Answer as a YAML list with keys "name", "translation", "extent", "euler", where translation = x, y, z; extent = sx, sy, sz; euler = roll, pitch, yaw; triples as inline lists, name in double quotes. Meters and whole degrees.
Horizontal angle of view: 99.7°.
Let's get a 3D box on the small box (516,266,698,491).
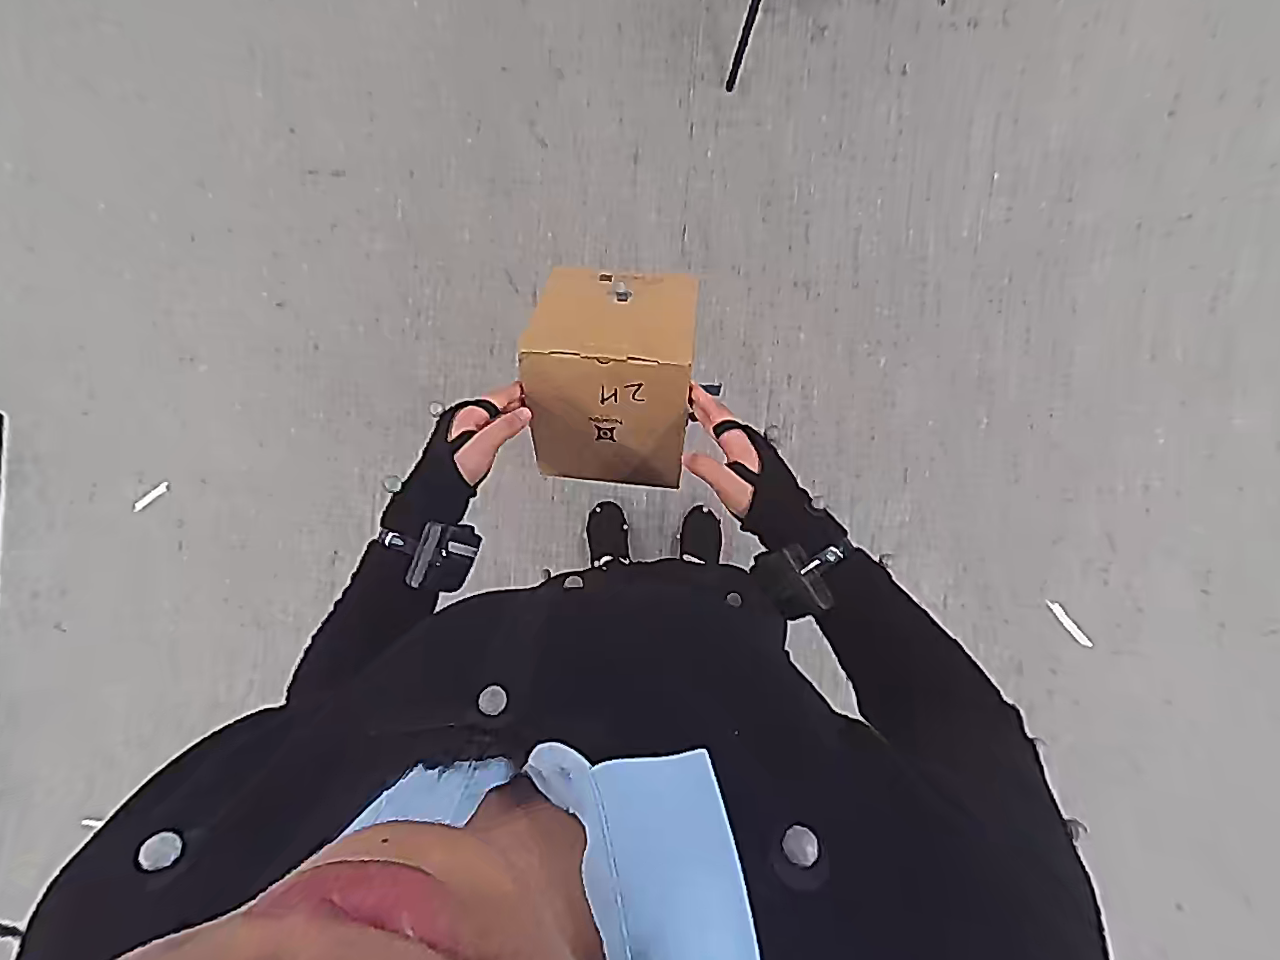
- name: "small box"
  translation: [-0.026, -0.113, 0.608]
  extent: [0.168, 0.179, 0.176]
  euler: [6, 47, 4]
